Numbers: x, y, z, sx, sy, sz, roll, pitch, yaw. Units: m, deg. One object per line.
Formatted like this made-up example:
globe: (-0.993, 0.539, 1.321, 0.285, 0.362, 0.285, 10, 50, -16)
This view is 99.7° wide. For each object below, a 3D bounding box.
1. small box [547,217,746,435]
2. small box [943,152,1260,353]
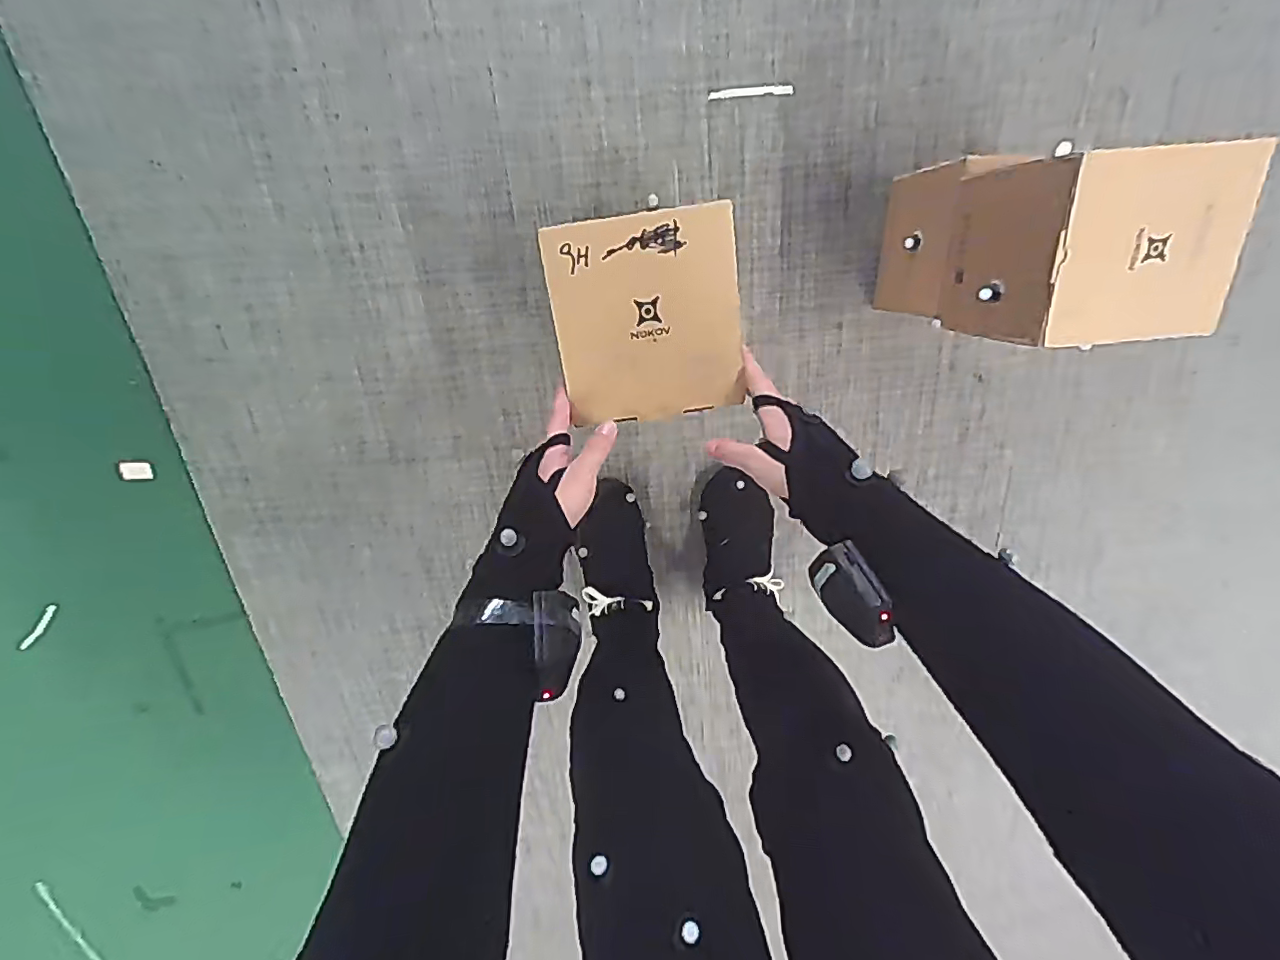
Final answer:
small box: (0.008, -0.160, 0.562, 0.168, 0.176, 0.179, -8, 109, 0)
small box: (0.455, -0.231, 0.571, 0.179, 0.176, 0.168, -6, 111, -3)
